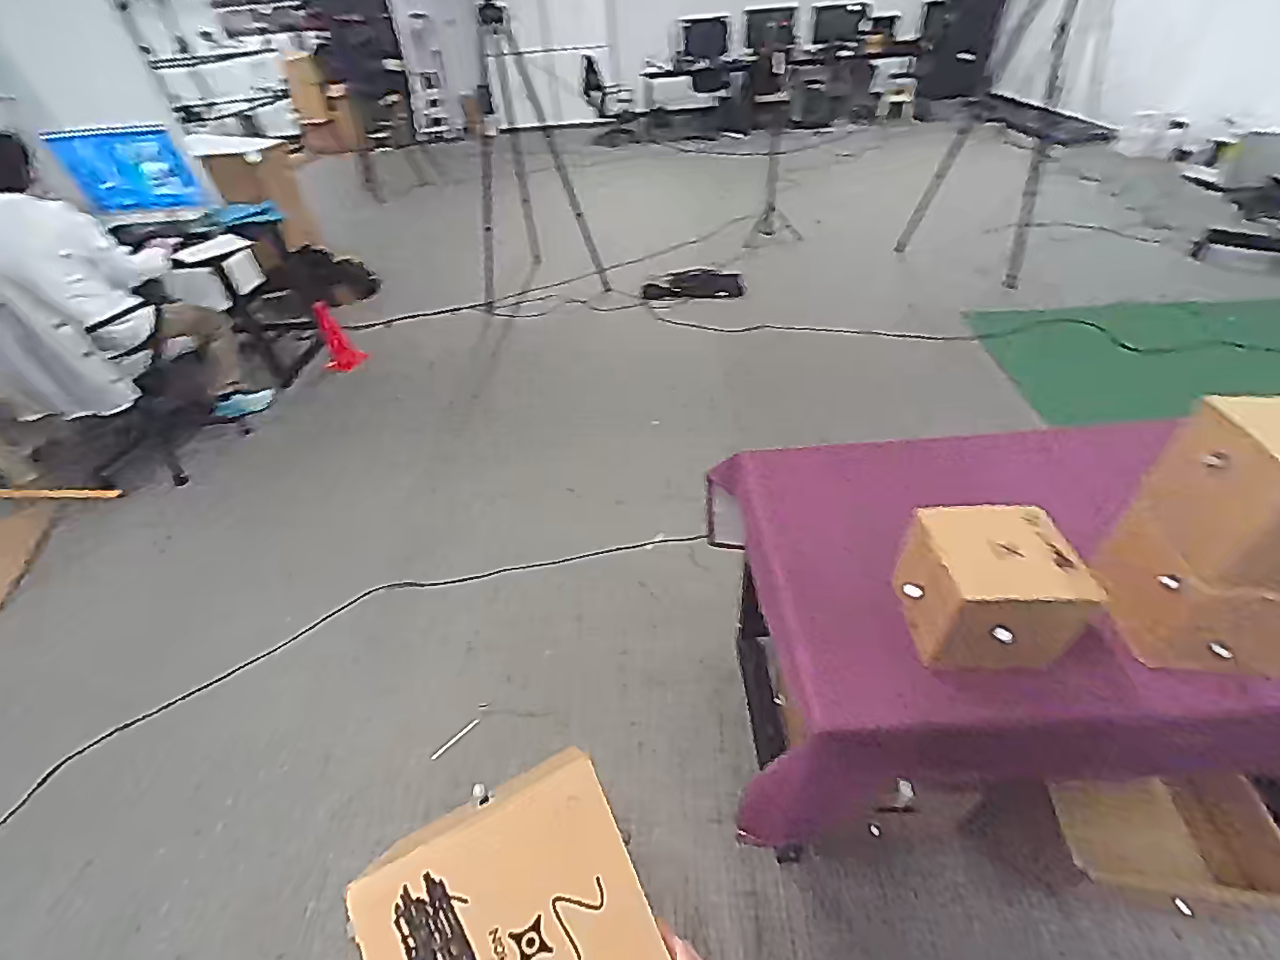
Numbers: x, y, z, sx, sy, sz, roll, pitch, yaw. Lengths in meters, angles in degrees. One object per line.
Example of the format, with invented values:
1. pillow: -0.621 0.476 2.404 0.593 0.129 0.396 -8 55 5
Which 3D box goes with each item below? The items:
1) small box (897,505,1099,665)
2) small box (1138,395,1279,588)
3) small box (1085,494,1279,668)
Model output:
1. small box: 0.492 0.154 0.783 0.179 0.176 0.168 -2 43 5
2. small box: 0.778 0.014 0.662 0.168 0.176 0.179 1 43 9
3. small box: 0.789 0.140 0.767 0.168 0.176 0.179 1 43 8
